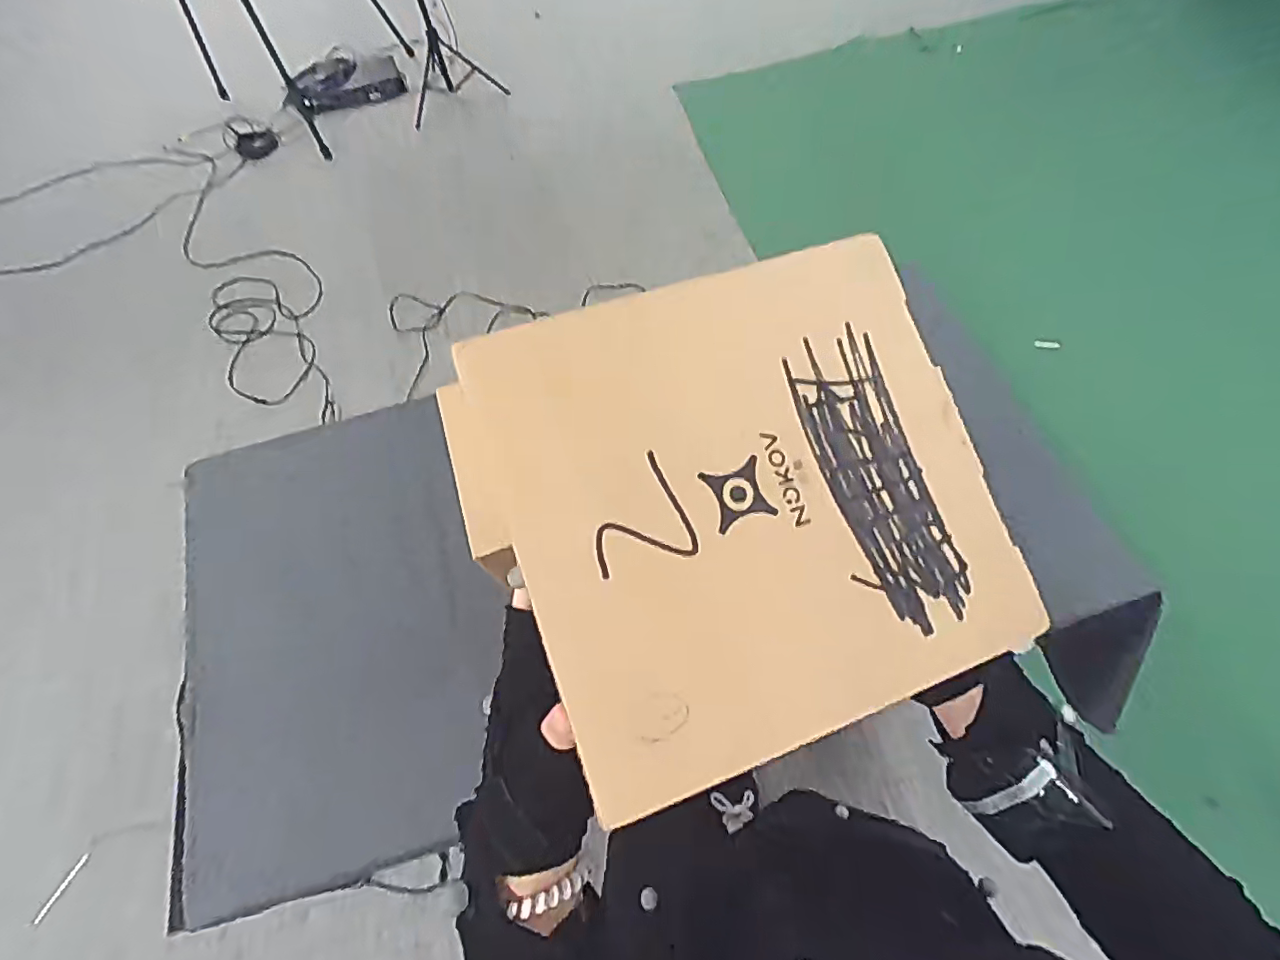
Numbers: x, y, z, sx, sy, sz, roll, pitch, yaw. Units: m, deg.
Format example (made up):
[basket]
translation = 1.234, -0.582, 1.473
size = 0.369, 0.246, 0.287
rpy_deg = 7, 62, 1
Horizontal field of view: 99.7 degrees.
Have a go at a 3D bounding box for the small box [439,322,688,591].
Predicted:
[small box]
translation = -0.064, -0.013, 0.513
size = 0.179, 0.176, 0.168
rpy_deg = -18, 64, -5
